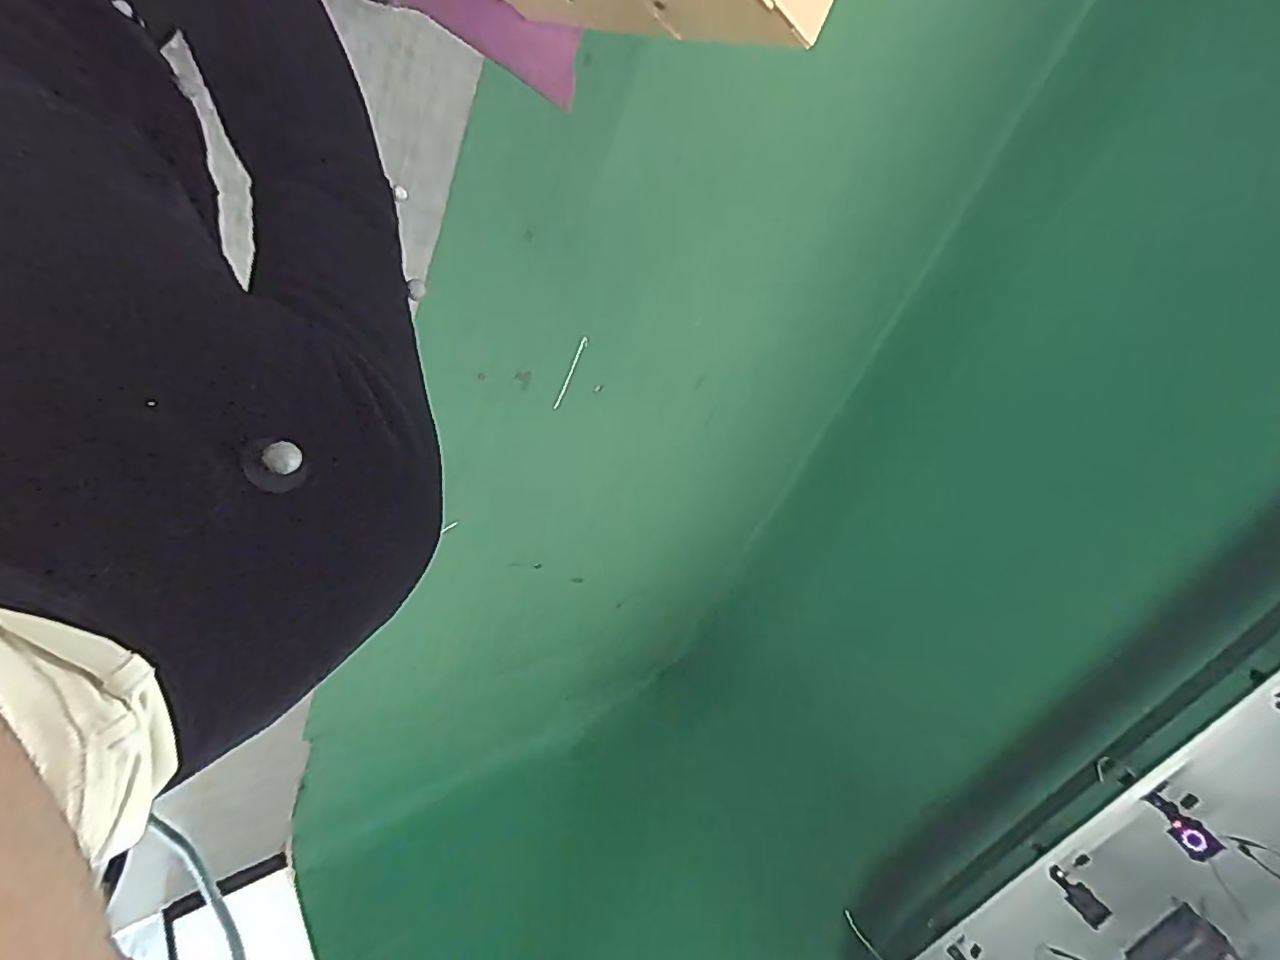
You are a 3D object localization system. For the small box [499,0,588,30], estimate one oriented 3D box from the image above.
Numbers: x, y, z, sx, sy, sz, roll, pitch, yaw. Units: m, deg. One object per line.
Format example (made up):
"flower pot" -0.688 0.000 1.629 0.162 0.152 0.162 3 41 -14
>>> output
"small box" -0.134 -0.667 0.617 0.179 0.176 0.168 3 121 -50

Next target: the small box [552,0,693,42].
"small box" -0.030 -0.580 0.526 0.168 0.176 0.179 4 120 -48
